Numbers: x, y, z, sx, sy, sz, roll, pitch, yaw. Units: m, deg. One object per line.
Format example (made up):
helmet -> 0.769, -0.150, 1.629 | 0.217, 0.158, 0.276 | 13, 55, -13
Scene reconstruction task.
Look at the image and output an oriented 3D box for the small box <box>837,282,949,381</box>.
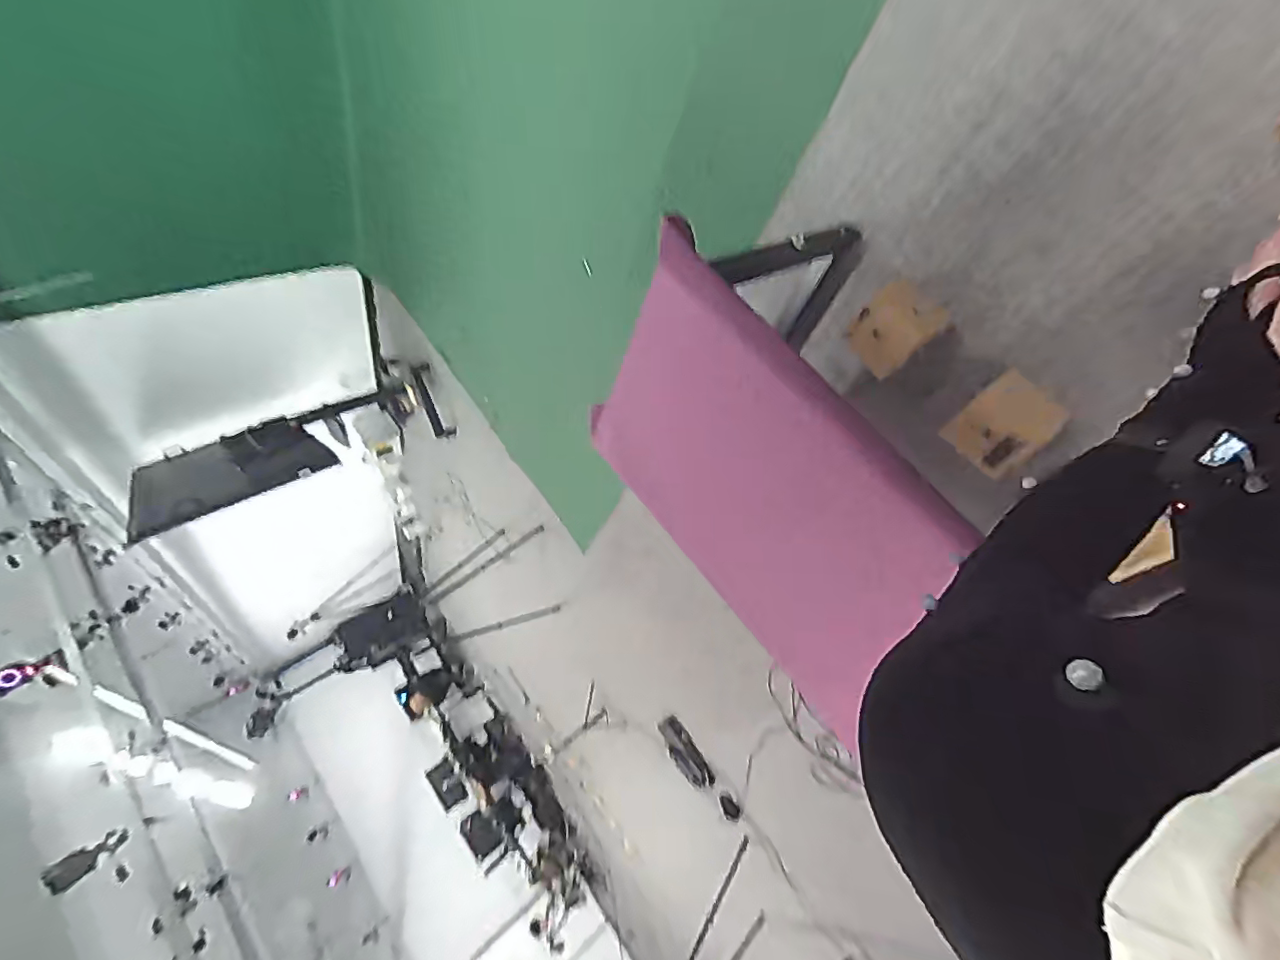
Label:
small box -> 0.673, -0.400, 1.432 | 0.179, 0.176, 0.168 | 52, 145, 15
